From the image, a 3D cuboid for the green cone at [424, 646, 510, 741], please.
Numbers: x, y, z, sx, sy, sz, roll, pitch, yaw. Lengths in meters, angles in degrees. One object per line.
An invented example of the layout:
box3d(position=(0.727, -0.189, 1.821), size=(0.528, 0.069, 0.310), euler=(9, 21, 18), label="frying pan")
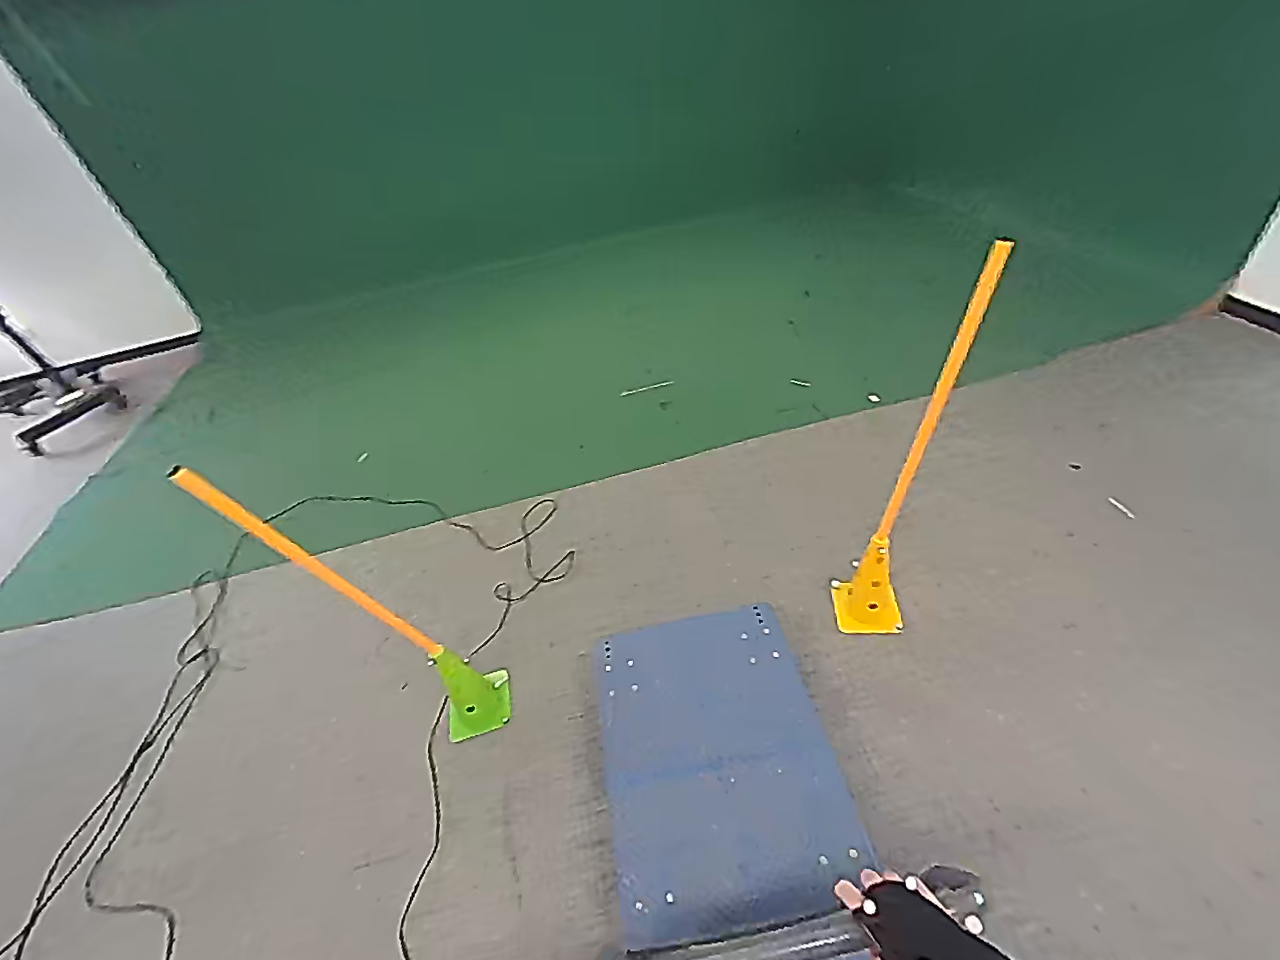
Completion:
box3d(position=(-0.565, 0.618, 1.676), size=(0.202, 0.368, 0.200), euler=(-19, 42, -4), label="green cone")
